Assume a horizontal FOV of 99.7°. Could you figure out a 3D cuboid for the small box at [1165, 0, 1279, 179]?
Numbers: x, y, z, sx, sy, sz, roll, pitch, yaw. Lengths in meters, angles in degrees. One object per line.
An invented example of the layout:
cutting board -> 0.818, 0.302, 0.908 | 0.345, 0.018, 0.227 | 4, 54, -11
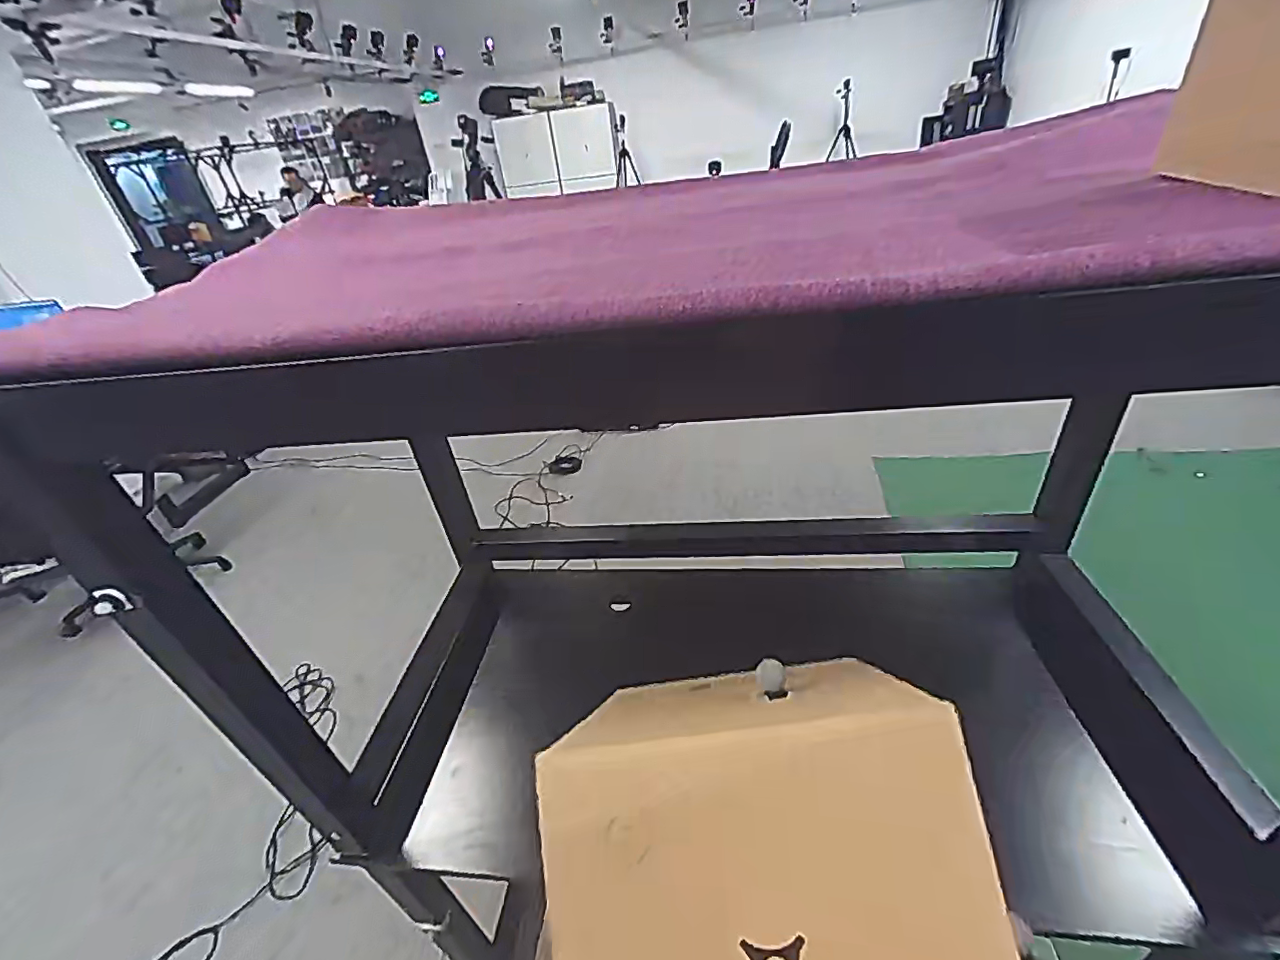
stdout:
small box -> 0.457, -0.274, 0.300 | 0.168, 0.176, 0.179 | 0, 35, 15
